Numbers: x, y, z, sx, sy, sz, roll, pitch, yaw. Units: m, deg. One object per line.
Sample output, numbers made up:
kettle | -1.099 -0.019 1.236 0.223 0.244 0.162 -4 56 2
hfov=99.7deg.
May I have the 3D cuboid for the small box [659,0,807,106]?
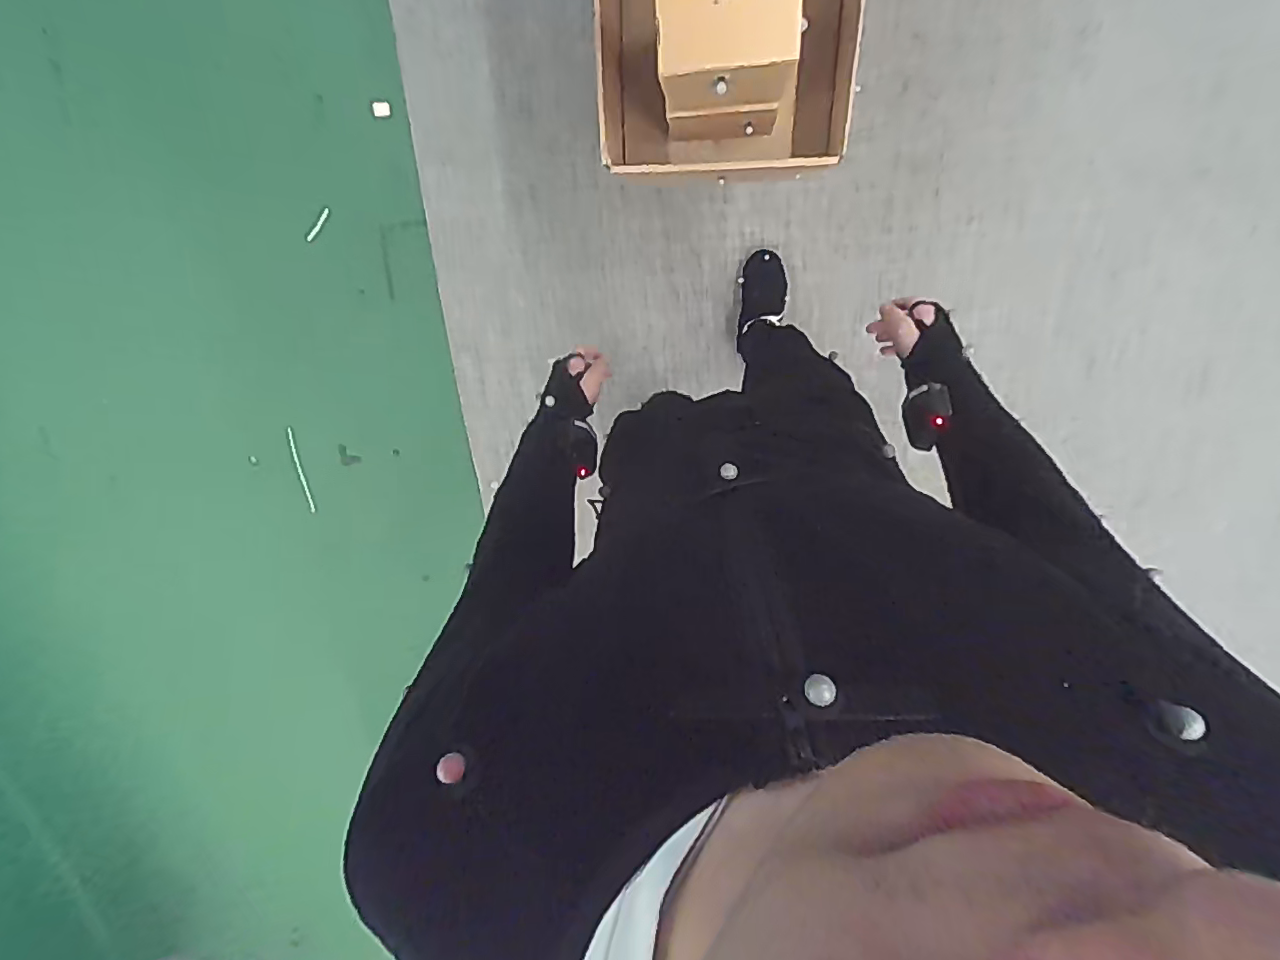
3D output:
small box | 0.121 -0.613 0.708 0.179 0.176 0.168 1 111 11
